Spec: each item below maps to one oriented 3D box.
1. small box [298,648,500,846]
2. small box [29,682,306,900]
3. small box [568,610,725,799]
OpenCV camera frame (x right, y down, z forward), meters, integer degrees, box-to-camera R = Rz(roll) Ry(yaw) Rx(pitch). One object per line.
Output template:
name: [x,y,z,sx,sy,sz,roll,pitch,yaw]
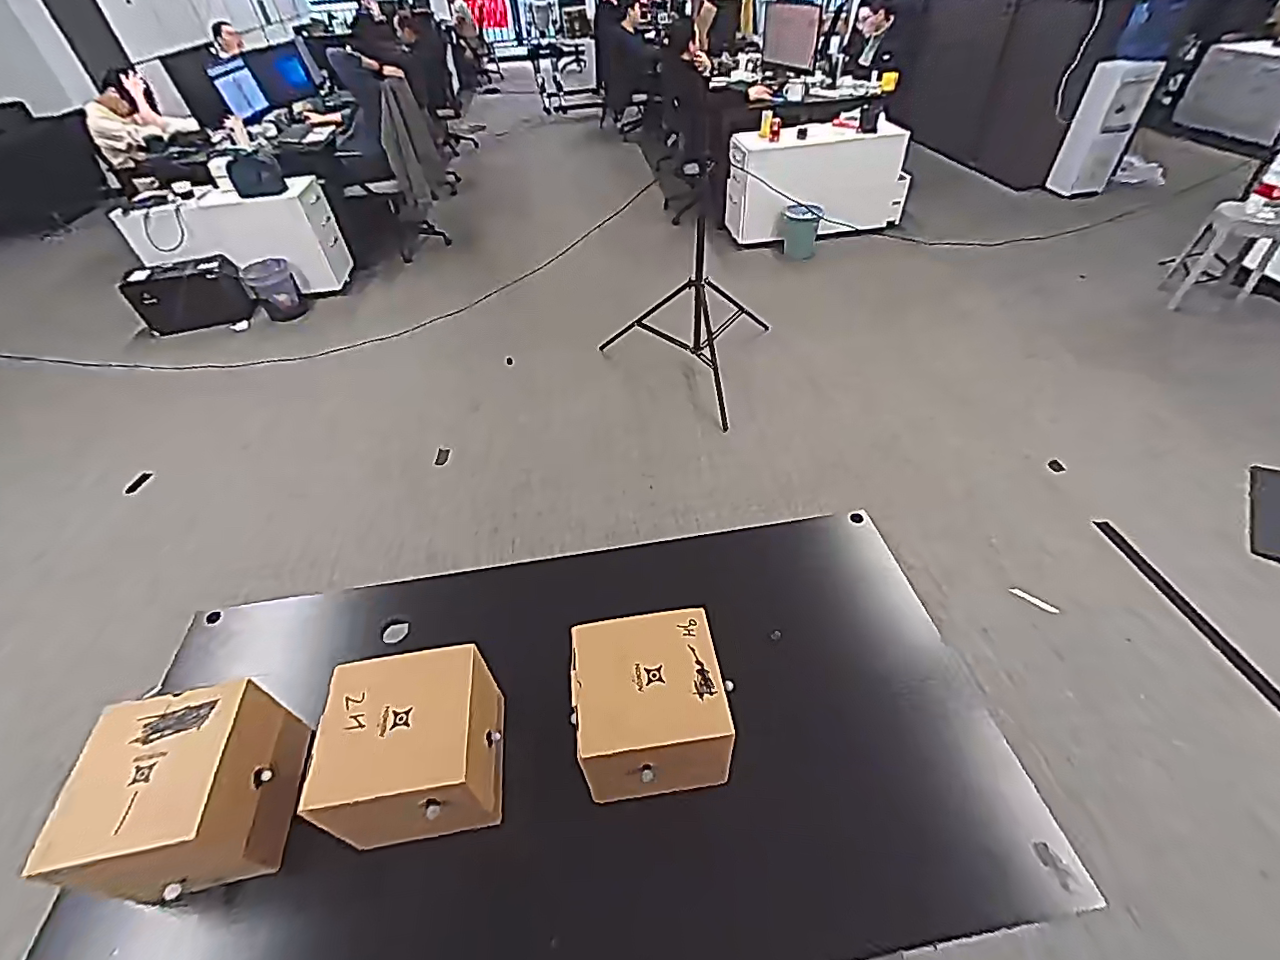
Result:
small box: [-0.281,0.338,0.684,0.179,0.176,0.168,-9,45,-4]
small box: [-0.544,0.379,0.662,0.168,0.176,0.179,-10,46,-6]
small box: [0.008,0.295,0.706,0.179,0.176,0.168,-8,45,-2]
